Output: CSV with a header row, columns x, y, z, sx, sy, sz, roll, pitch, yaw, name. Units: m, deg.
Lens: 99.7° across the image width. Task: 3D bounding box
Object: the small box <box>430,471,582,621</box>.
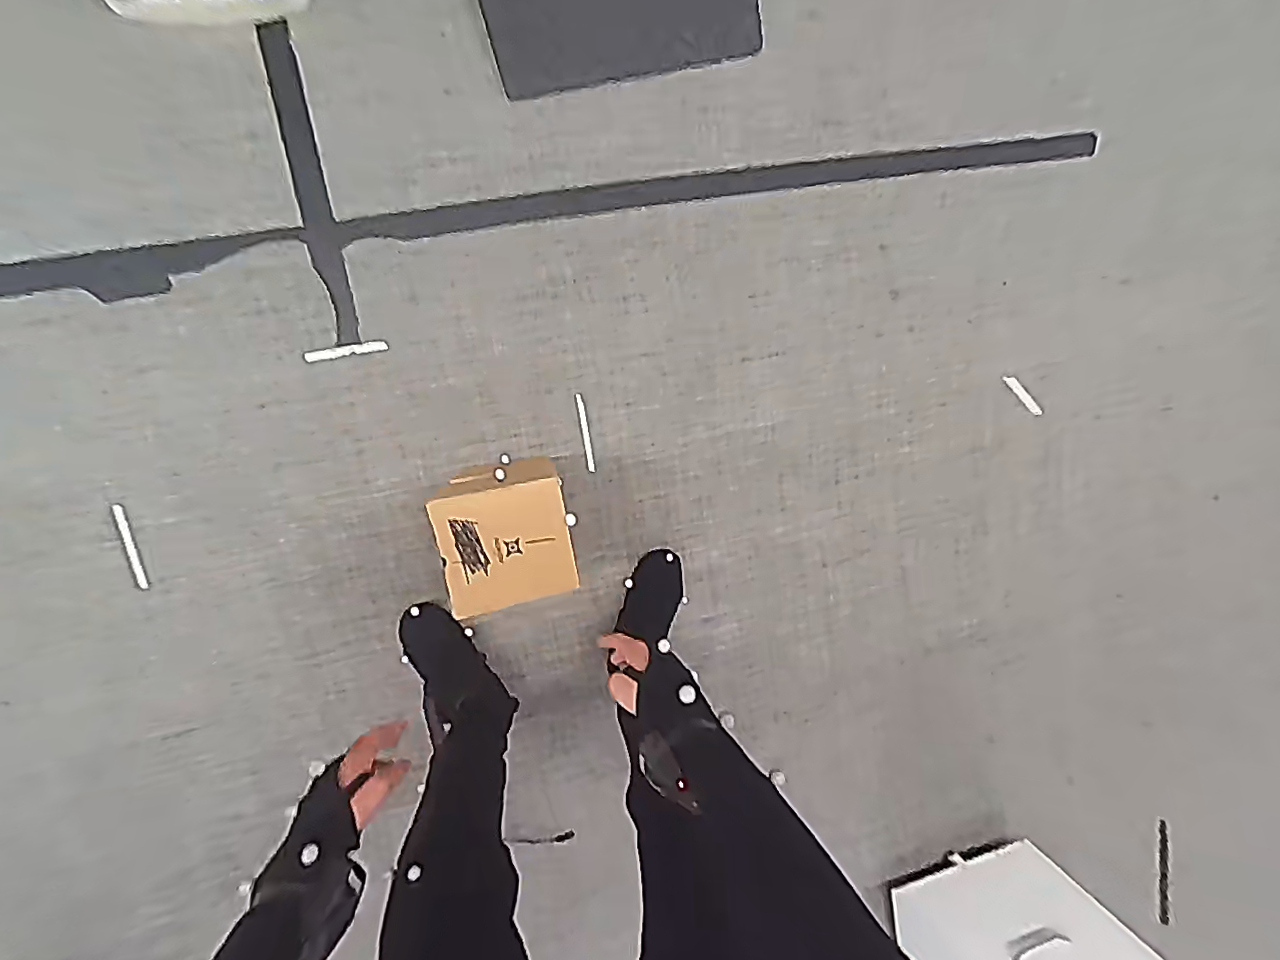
x,y,z,sx,sy,sz,roll,pitch,yaw,name
-0.192,0.086,0.801,0.179,0.176,0.168,-11,99,-11,small box
